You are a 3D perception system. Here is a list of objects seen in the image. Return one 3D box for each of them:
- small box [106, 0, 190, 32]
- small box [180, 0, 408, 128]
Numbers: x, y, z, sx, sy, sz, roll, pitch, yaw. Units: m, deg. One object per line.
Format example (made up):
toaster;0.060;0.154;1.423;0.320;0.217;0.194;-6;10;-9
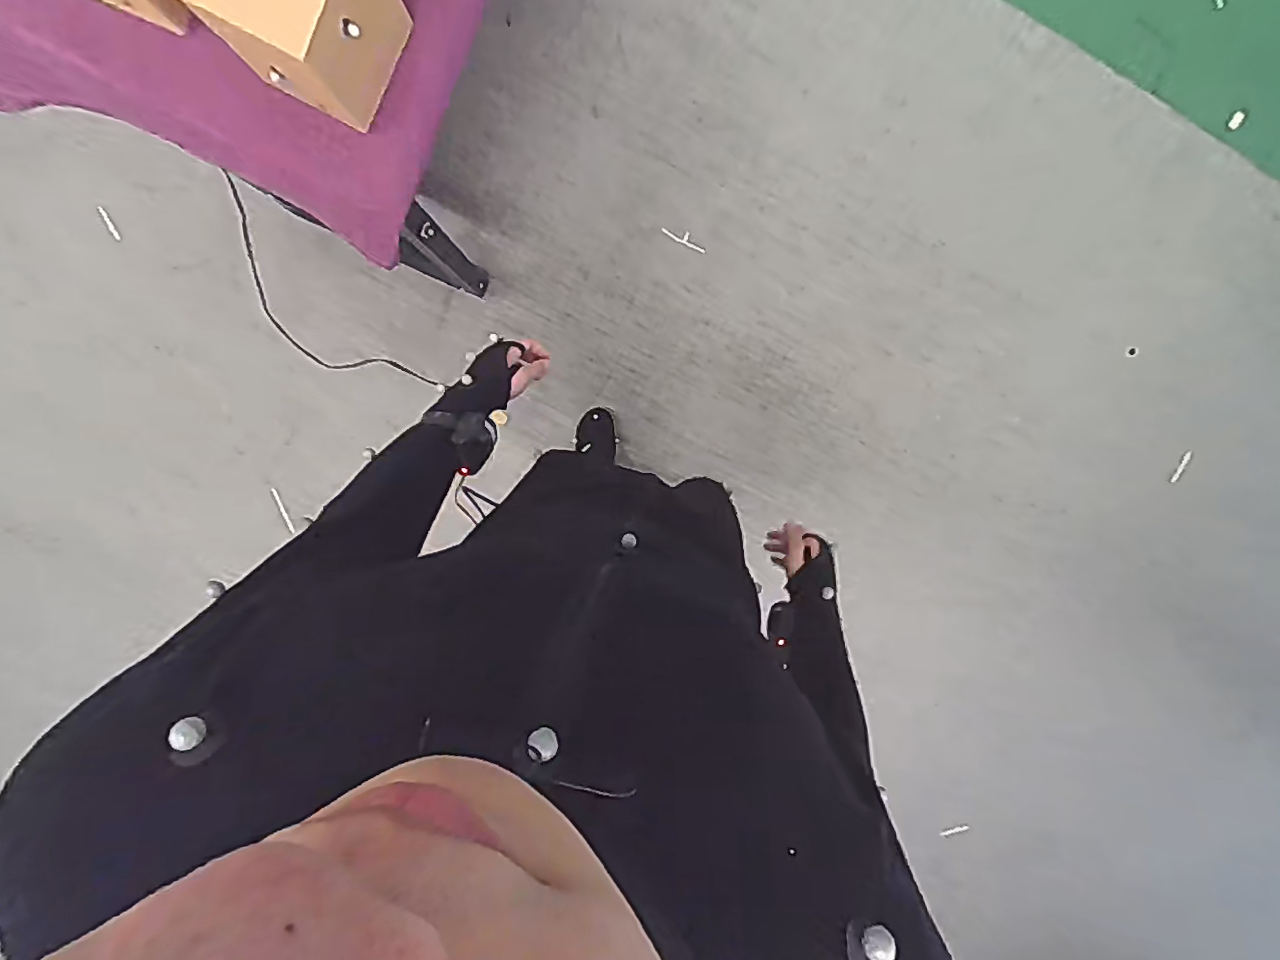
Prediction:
small box;-0.692;-0.732;0.682;0.168;0.176;0.179;21;94;-6
small box;-0.435;-0.613;0.708;0.168;0.176;0.179;26;94;-5
